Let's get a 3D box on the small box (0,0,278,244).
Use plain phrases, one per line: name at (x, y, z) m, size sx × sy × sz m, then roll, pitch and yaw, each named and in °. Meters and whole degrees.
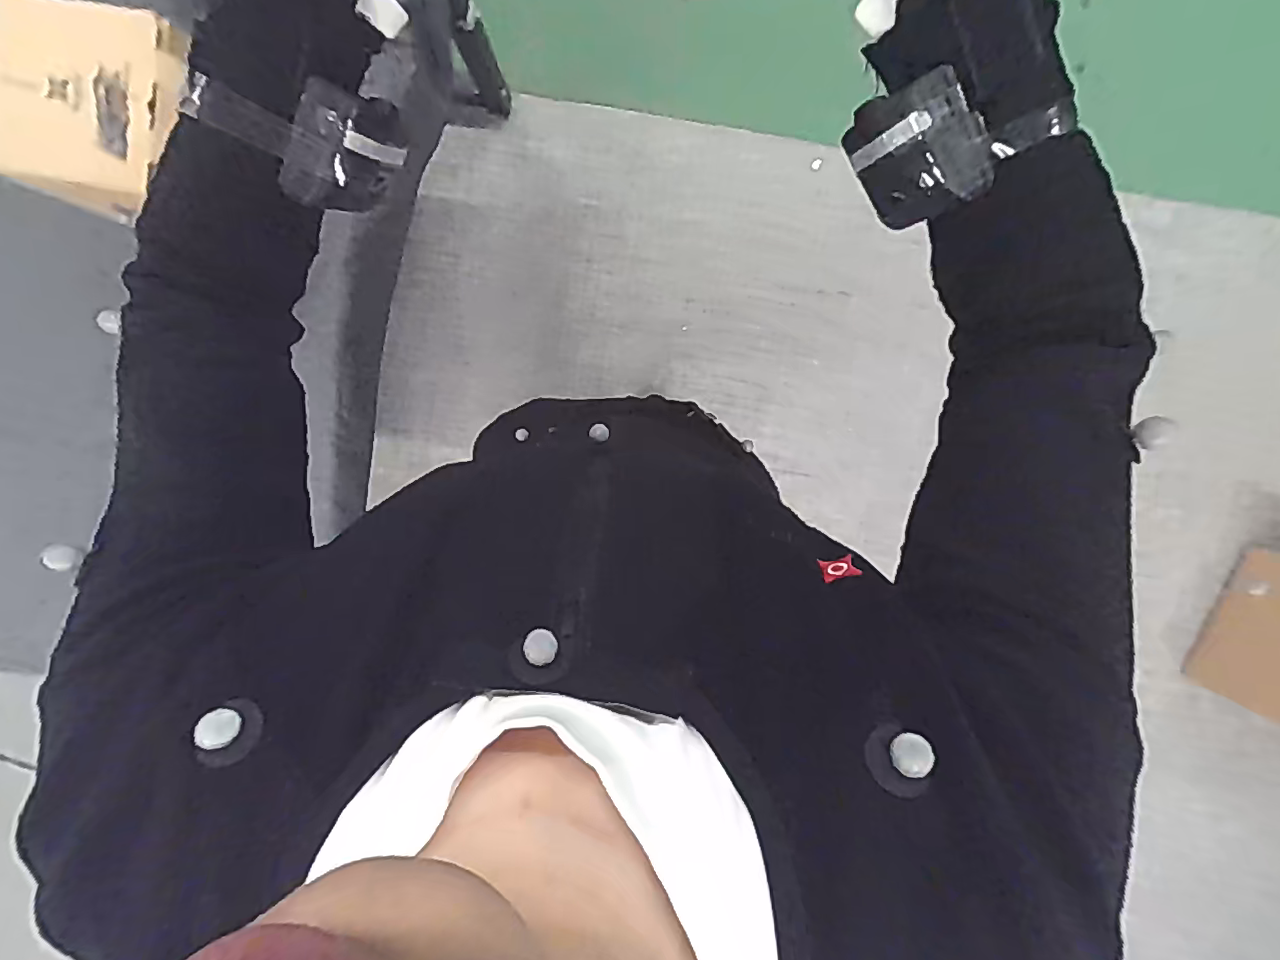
small box at (-0.543, -0.379, 0.601) m, size 0.179 × 0.176 × 0.168 m, roll 10°, pitch 96°, yaw 0°
